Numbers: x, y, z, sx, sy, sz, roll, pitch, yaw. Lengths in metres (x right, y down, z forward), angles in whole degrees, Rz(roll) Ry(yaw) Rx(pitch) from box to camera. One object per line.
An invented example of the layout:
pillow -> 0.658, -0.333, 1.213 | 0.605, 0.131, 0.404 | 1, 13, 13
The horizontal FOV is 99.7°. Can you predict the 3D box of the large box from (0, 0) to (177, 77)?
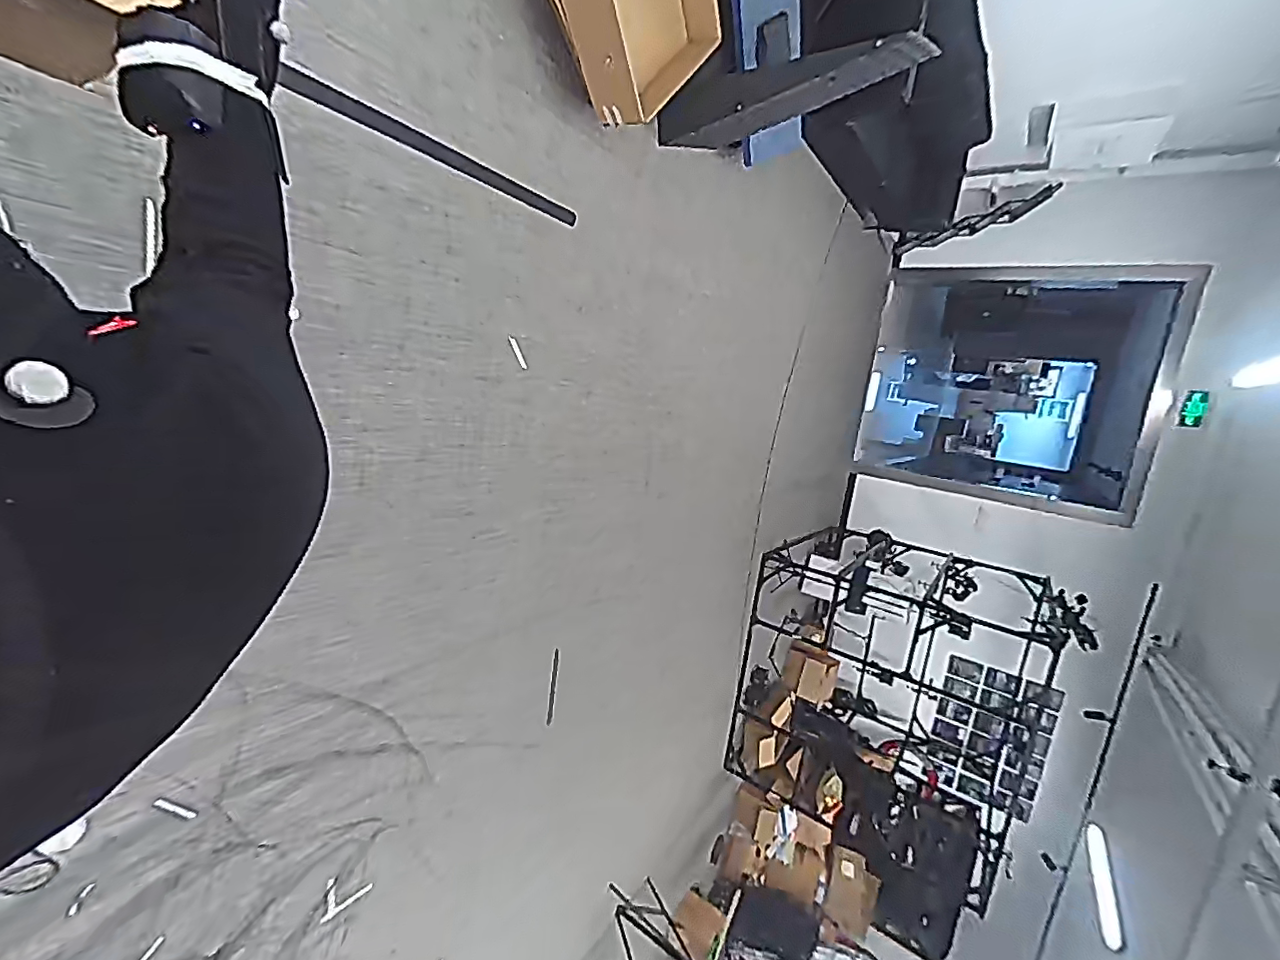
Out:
large box -> -0.538, -0.495, 0.276 | 0.408, 0.320, 0.320 | -4, 112, -55
